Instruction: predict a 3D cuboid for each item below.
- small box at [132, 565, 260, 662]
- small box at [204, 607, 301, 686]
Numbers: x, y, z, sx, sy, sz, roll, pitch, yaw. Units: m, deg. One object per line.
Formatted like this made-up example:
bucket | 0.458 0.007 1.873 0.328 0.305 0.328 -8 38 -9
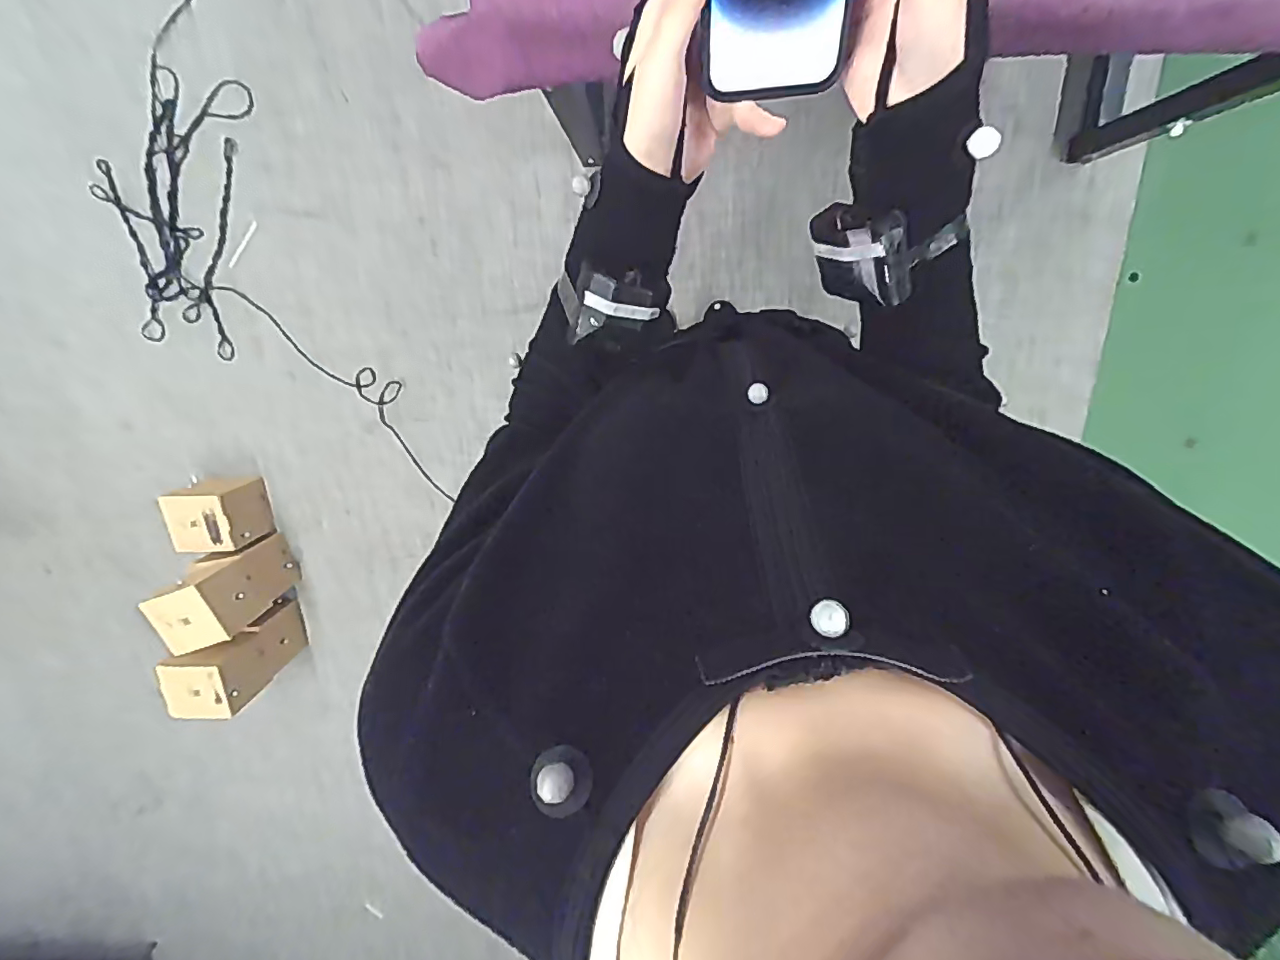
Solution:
small box | -1.153 0.345 1.427 0.179 0.176 0.168 -18 105 8
small box | -1.174 0.499 1.643 0.168 0.176 0.179 -1 107 4
